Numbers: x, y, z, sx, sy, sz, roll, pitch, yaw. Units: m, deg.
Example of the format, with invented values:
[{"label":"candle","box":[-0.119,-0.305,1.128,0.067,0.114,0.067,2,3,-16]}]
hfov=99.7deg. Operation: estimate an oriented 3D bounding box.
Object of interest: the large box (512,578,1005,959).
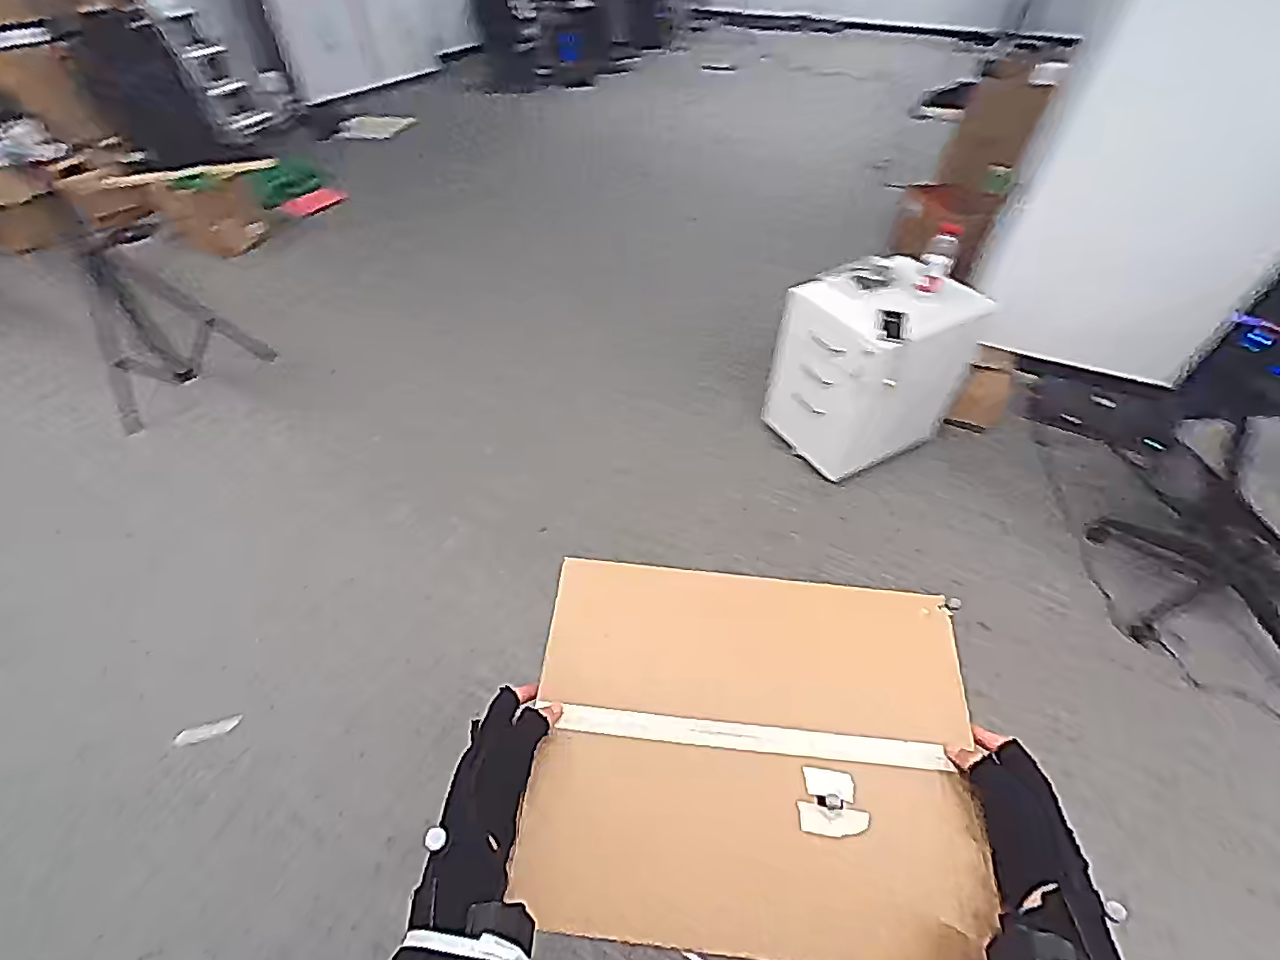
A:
[{"label":"large box","box":[0.097,0.326,0.632,0.408,0.320,0.320,4,59,1]}]
